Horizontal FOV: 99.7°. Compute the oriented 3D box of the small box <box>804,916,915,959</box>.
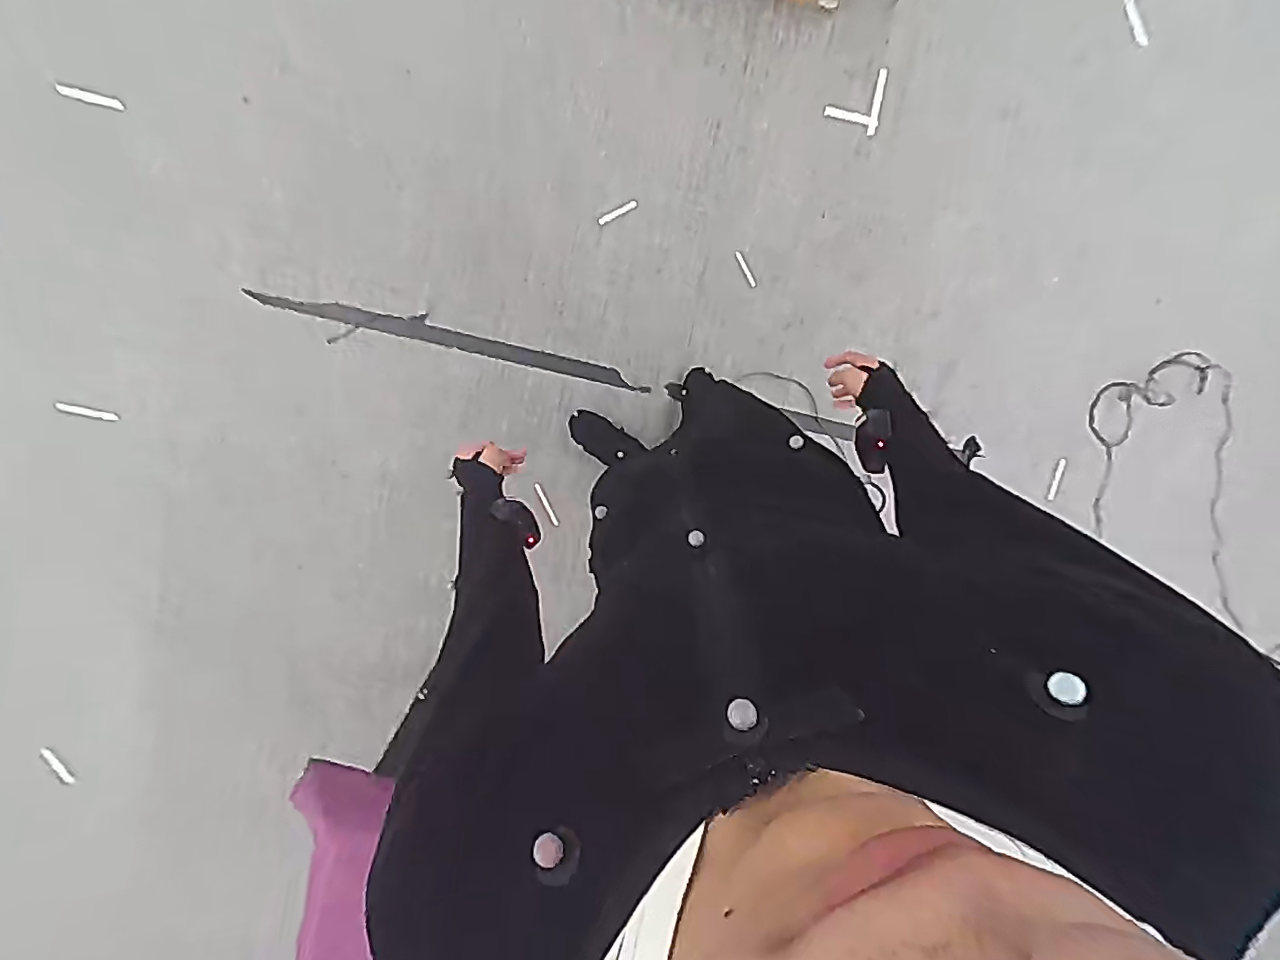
[{"bbox_3d":[0.422,0.956,1.000,0.179,0.176,0.168,11,97,-7],"label":"small box"}]
